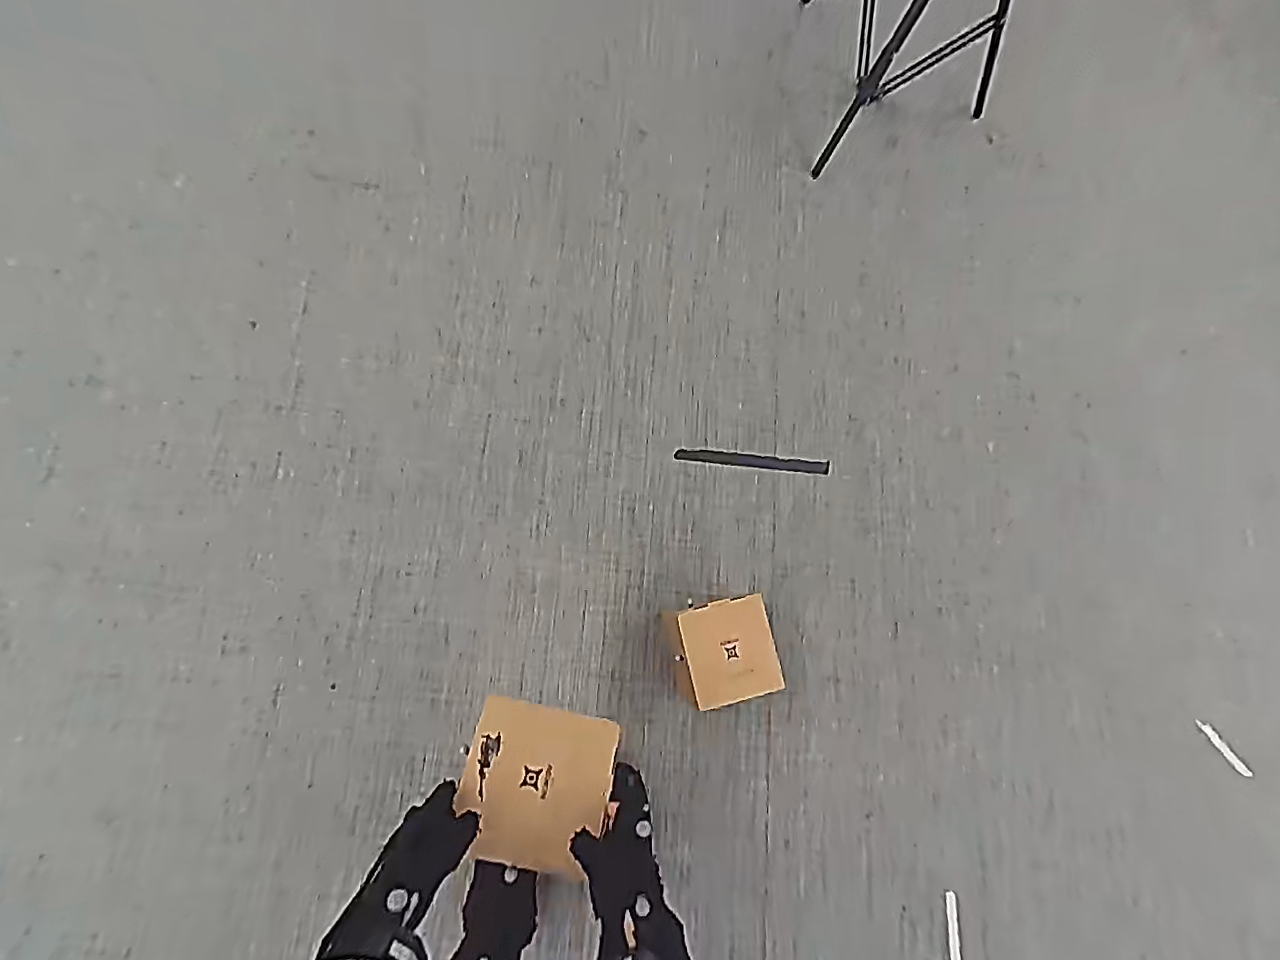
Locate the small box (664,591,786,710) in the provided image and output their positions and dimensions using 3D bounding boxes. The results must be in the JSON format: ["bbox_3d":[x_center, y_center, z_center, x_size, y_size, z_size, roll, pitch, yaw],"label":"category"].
[{"bbox_3d":[0.153,0.320,1.040,0.168,0.176,0.179,-12,79,-10],"label":"small box"}]

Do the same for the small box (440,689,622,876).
[{"bbox_3d":[-0.137,0.389,0.693,0.179,0.176,0.168,15,52,-6],"label":"small box"}]
